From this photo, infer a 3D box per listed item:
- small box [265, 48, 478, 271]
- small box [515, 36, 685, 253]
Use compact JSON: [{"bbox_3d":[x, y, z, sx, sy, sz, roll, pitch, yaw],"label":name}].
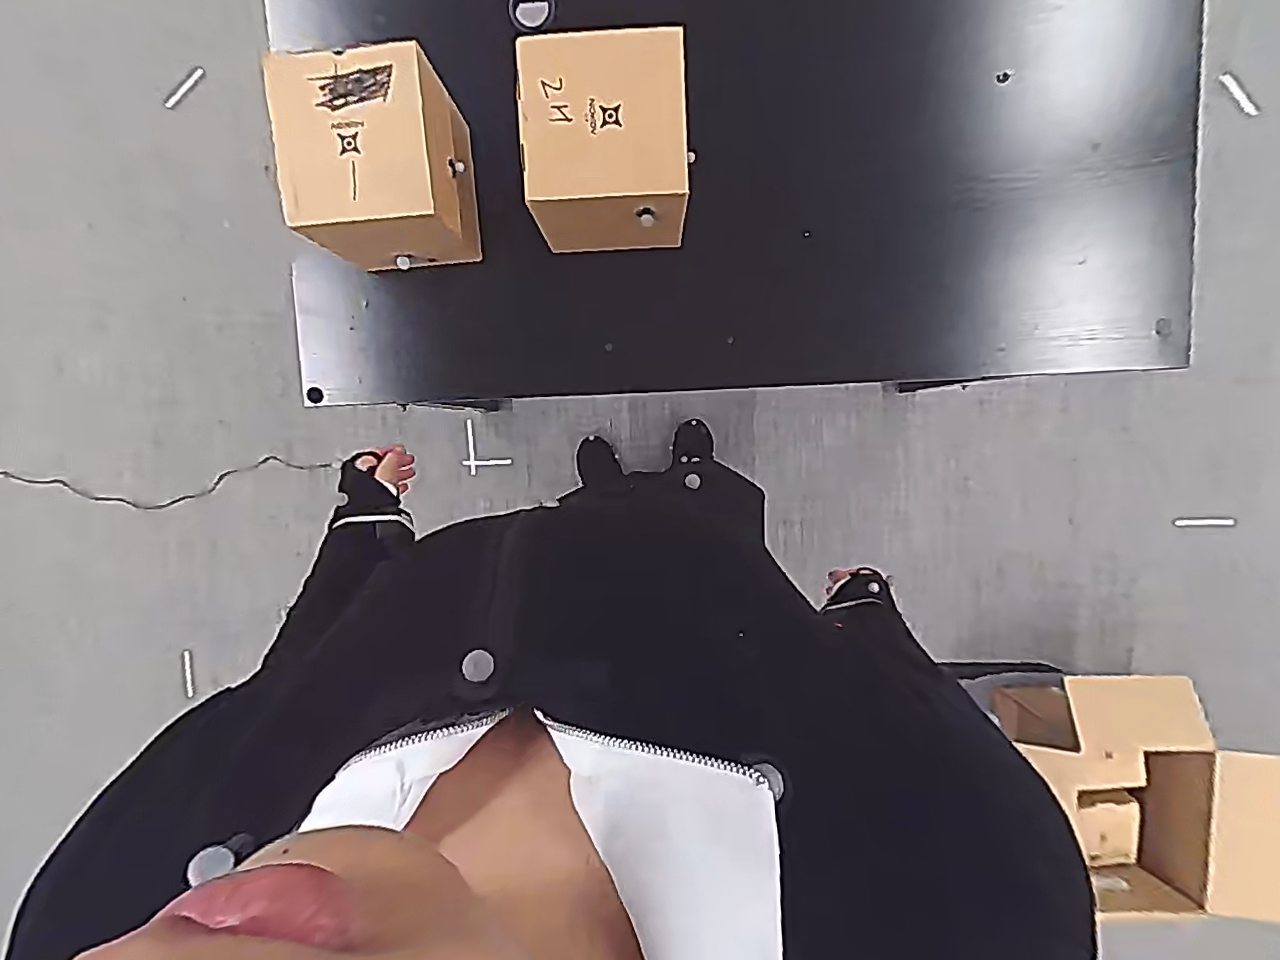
[{"bbox_3d":[-0.308,-0.371,0.655,0.168,0.176,0.179,-4,96,1],"label":"small box"},{"bbox_3d":[-0.041,-0.384,0.648,0.179,0.176,0.168,-2,95,2],"label":"small box"}]
